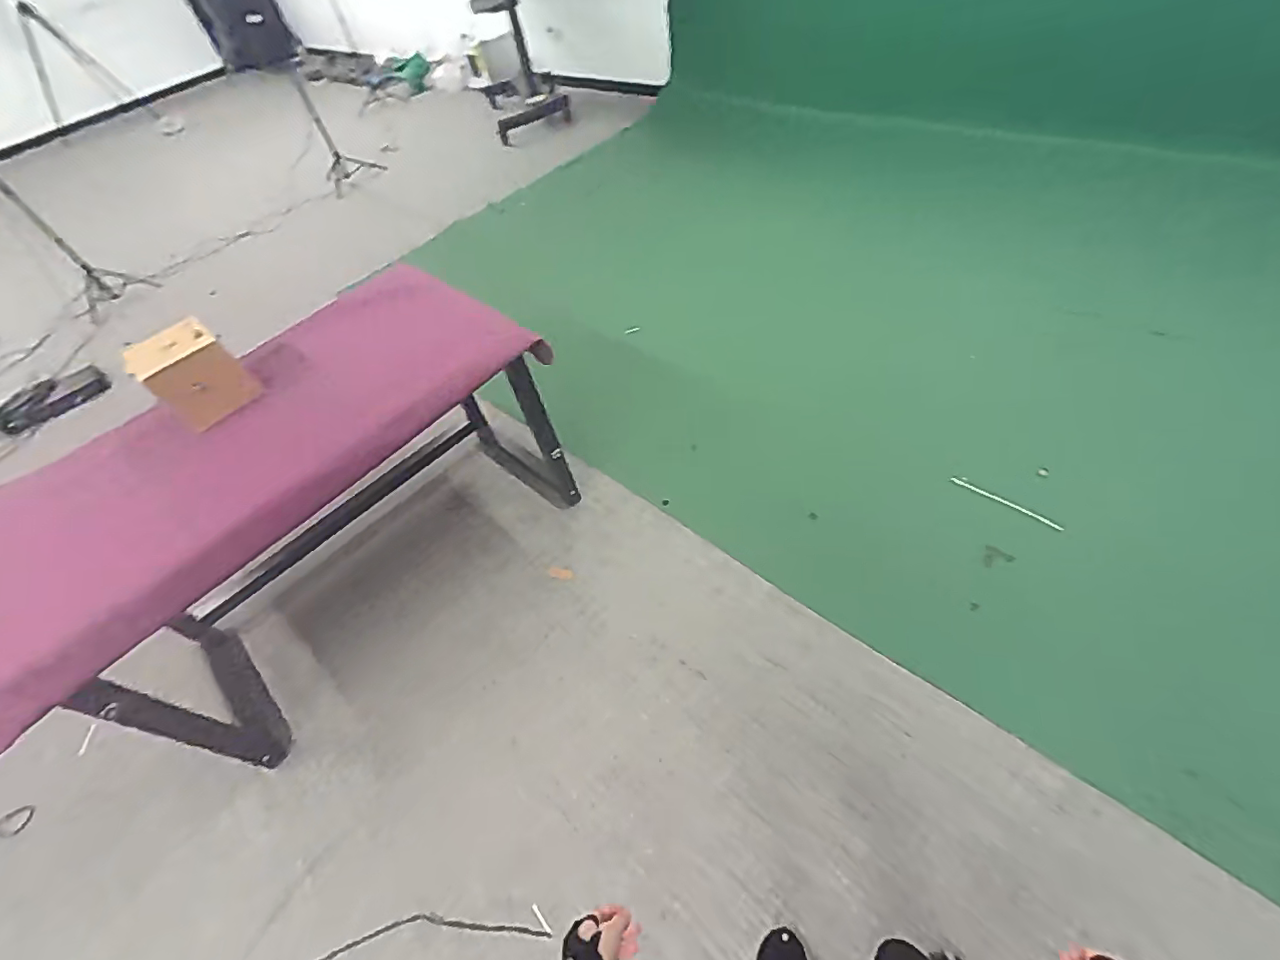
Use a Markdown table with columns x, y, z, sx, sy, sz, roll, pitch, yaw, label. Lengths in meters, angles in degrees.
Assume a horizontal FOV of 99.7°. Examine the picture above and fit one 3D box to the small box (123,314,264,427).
| x | y | z | sx | sy | sz | roll | pitch | yaw | label |
| --- | --- | --- | --- | --- | --- | --- | --- | --- | --- |
| -1.058 | -0.258 | 1.291 | 0.168 | 0.176 | 0.179 | 34 | 65 | 29 | small box |
